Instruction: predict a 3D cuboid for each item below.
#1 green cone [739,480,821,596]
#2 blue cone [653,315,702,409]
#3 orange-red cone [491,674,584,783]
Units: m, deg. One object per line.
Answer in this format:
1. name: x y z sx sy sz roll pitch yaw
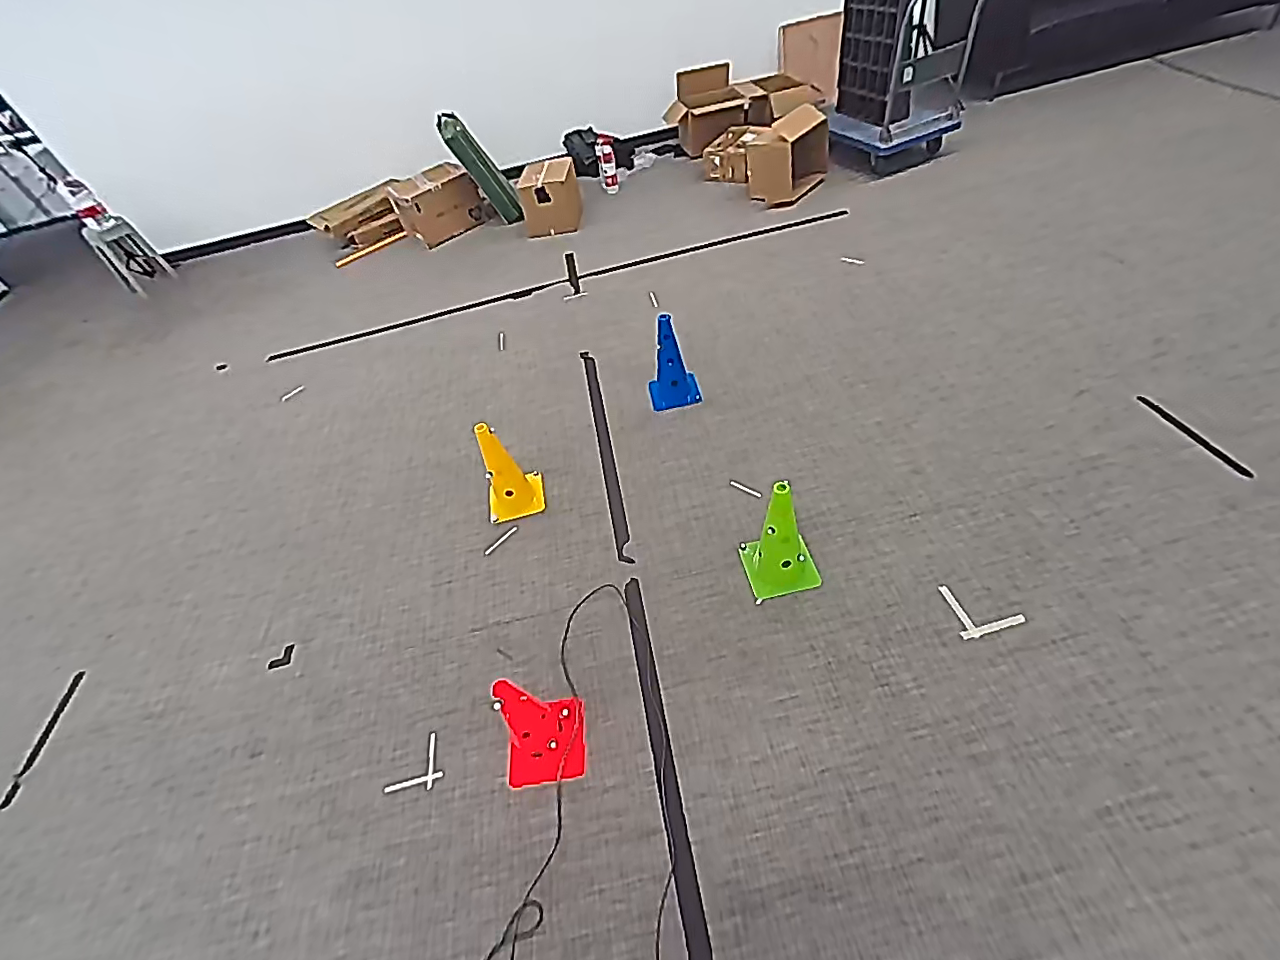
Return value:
1. green cone: 0.391 0.136 1.500 0.202 0.368 0.200 -13 47 -1
2. blue cone: 0.130 -0.477 2.133 0.192 0.380 0.193 -10 47 2
3. orange-red cone: -0.272 0.551 1.273 0.199 0.360 0.198 -11 46 4
